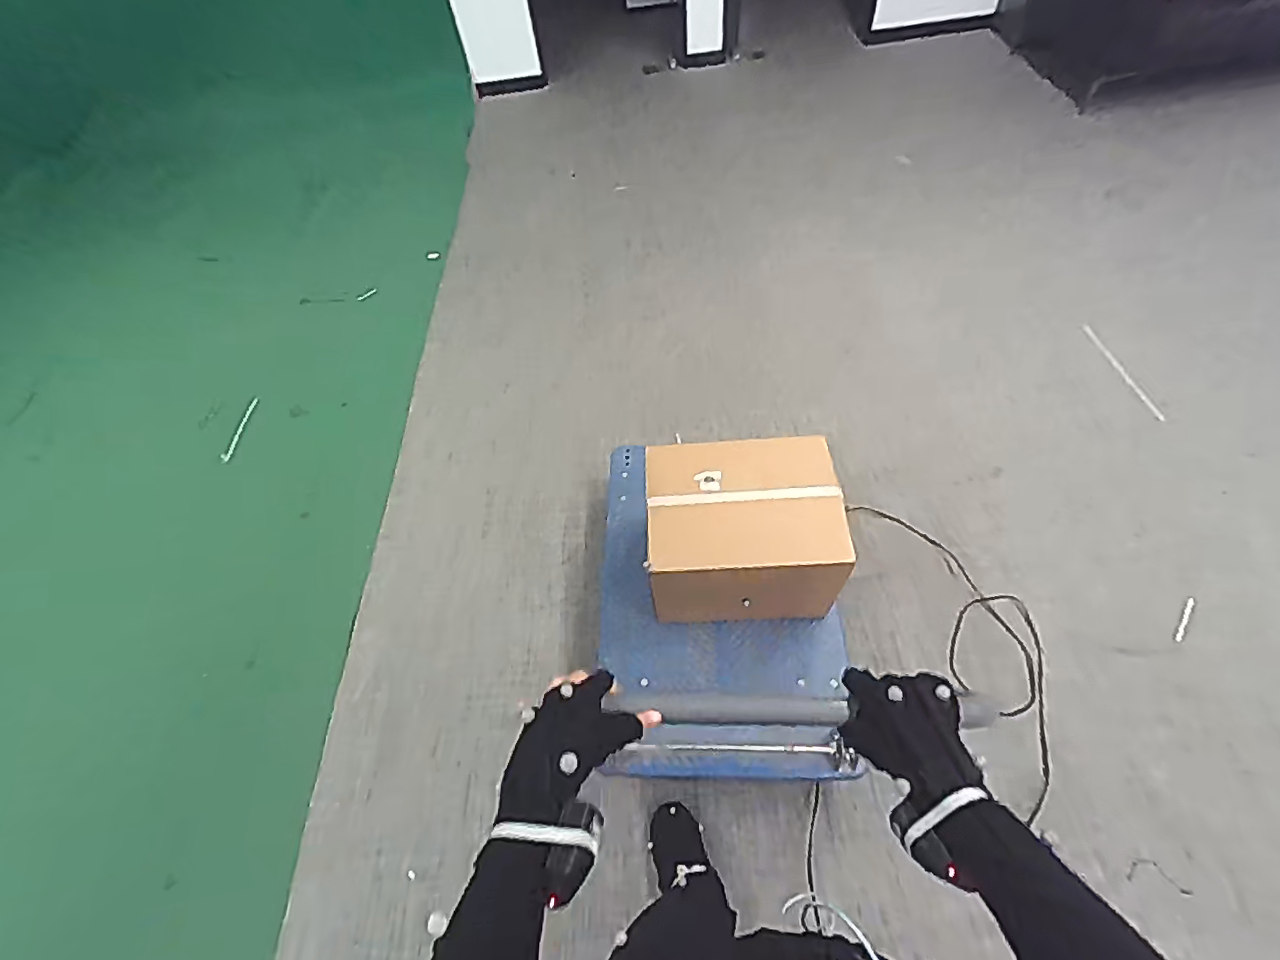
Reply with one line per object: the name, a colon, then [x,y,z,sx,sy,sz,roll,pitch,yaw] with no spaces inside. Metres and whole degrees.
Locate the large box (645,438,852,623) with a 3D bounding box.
large box: [0.232,0.131,1.273,0.408,0.320,0.320,-5,56,5]
